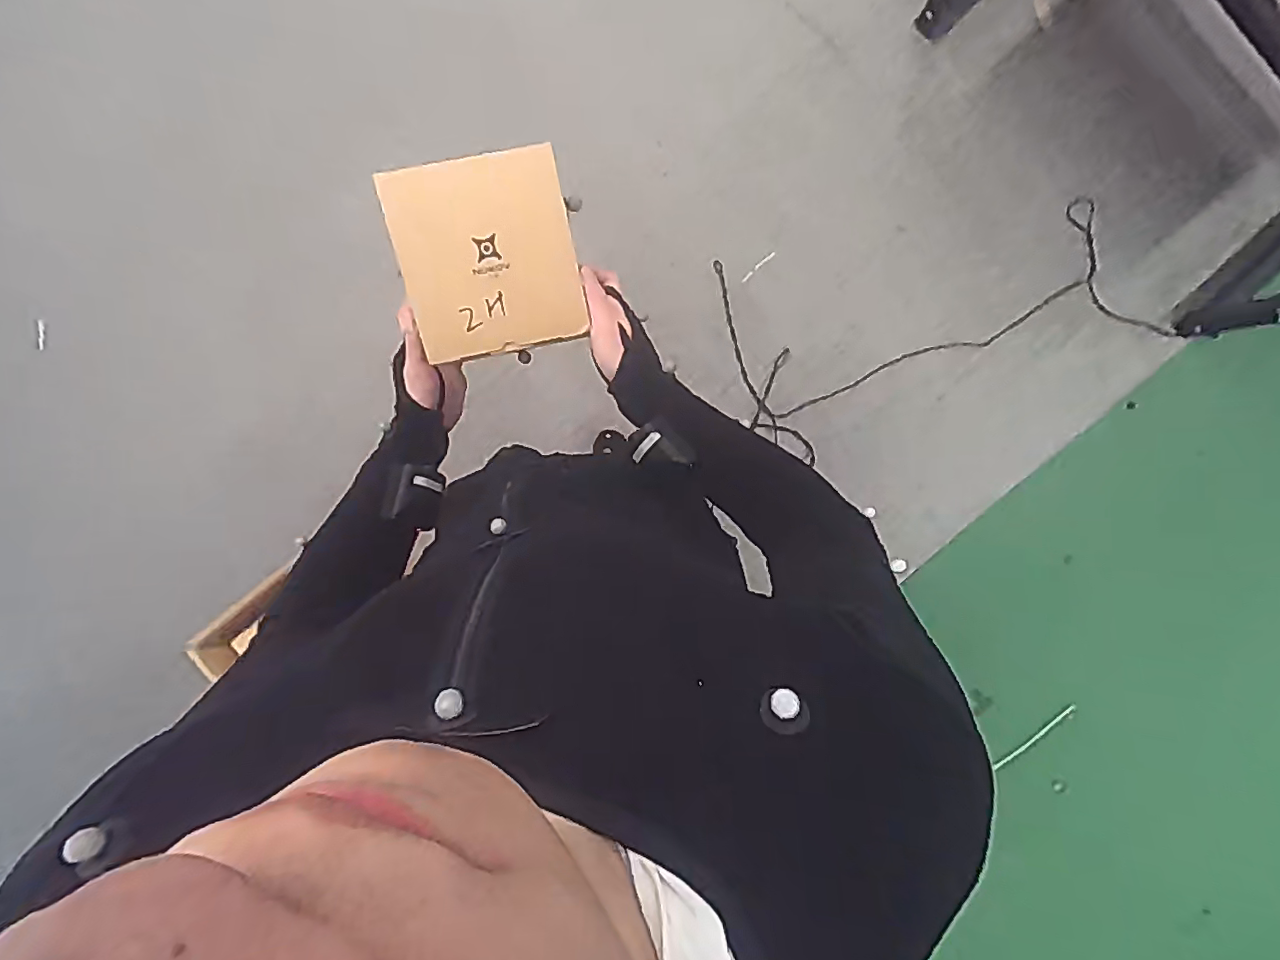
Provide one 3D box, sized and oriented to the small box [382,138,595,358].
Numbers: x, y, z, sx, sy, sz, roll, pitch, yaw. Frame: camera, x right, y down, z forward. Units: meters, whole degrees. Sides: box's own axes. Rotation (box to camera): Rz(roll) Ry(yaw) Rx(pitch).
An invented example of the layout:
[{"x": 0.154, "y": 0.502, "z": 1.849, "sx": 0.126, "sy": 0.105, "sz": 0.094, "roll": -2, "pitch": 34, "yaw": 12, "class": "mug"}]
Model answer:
[{"x": -0.147, "y": -0.234, "z": 0.588, "sx": 0.168, "sy": 0.176, "sz": 0.179, "roll": -12, "pitch": 105, "yaw": -2, "class": "small box"}]
